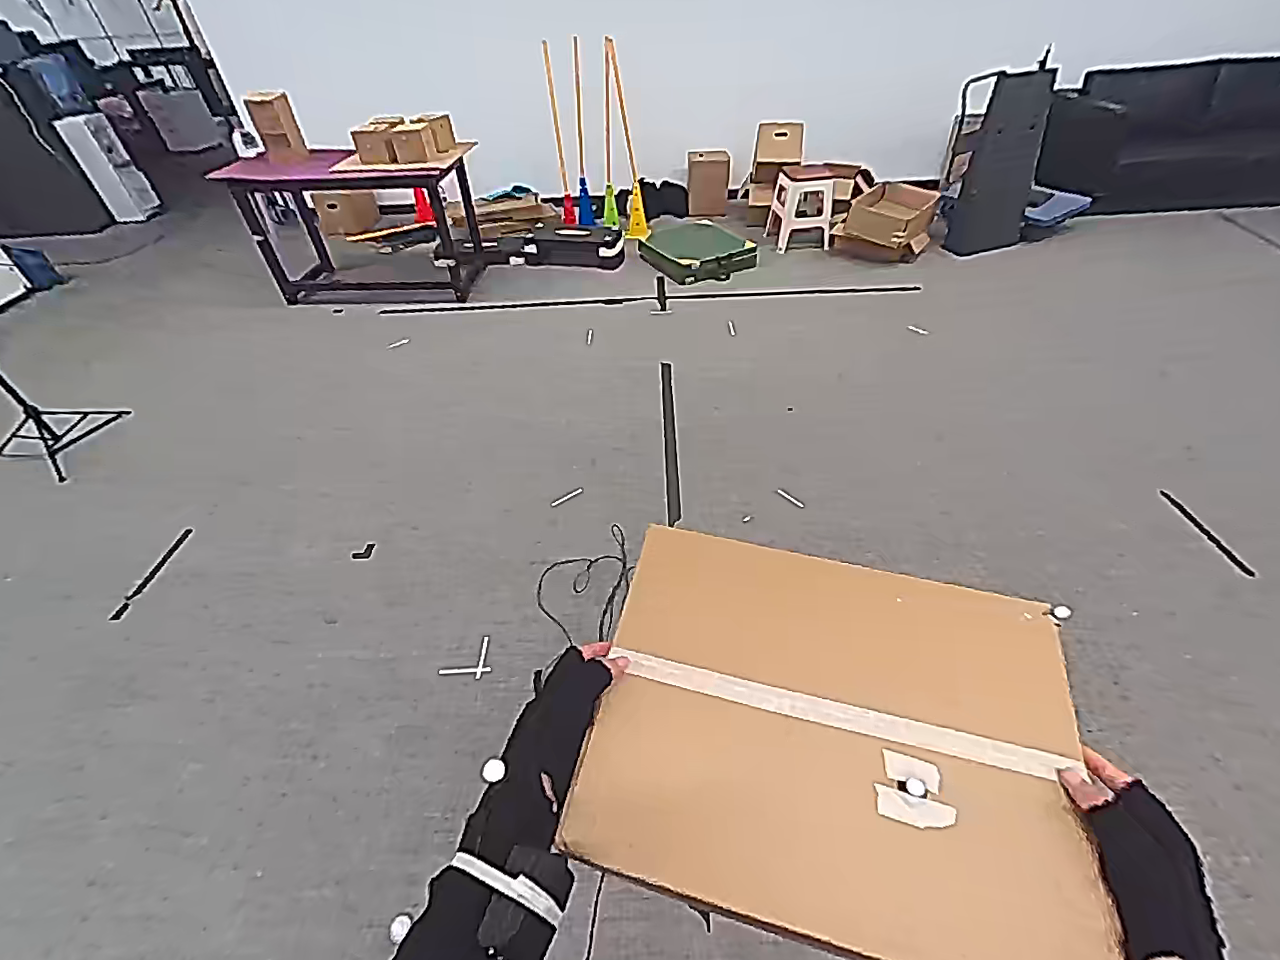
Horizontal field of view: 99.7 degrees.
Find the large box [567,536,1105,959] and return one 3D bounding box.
[{"bbox_3d":[0.168,0.303,0.606,0.408,0.320,0.320,11,54,10],"label":"large box"}]
